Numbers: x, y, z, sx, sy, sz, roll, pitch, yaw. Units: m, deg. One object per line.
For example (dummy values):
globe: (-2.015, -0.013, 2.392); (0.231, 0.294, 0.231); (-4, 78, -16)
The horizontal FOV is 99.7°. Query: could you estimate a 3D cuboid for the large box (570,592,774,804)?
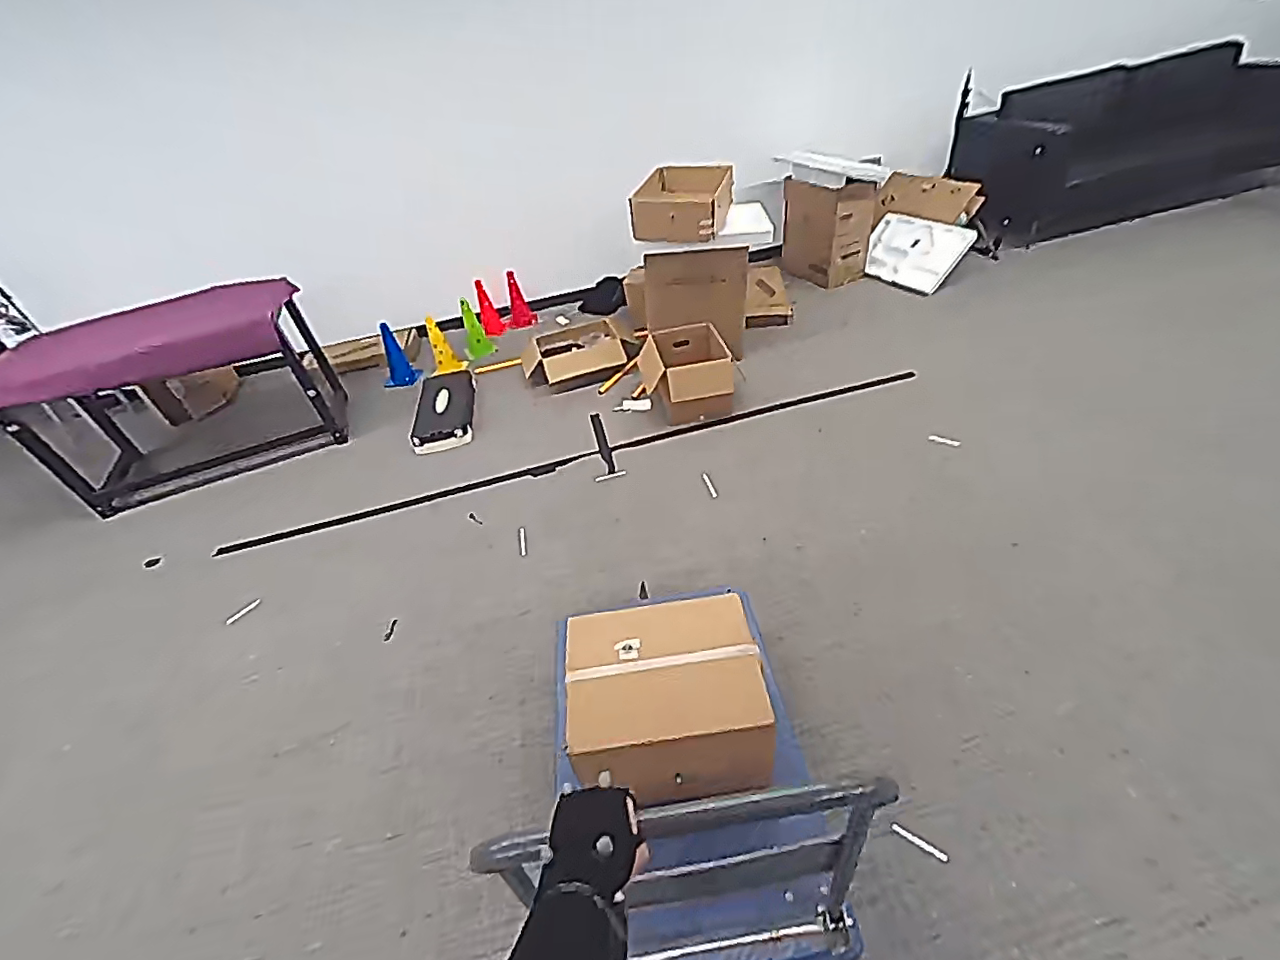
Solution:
large box: (0.069, 0.504, 1.251); (0.408, 0.320, 0.320); (-10, 39, 2)
